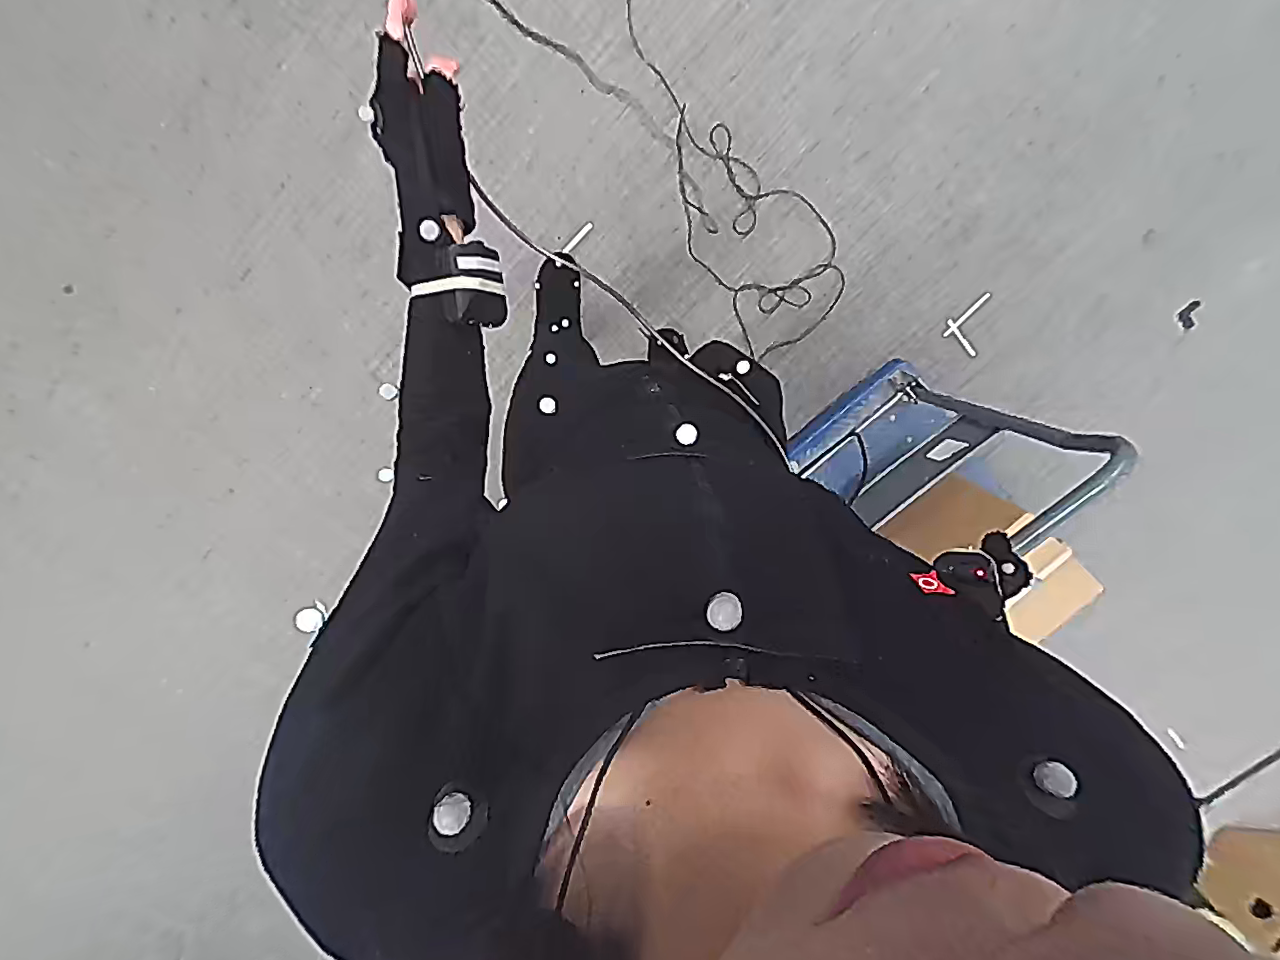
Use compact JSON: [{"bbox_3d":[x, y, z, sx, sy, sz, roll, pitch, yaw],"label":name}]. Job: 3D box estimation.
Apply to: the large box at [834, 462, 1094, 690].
[{"bbox_3d":[0.789,0.231,1.374,0.320,0.320,0.408,37,104,-16],"label":"large box"}]
